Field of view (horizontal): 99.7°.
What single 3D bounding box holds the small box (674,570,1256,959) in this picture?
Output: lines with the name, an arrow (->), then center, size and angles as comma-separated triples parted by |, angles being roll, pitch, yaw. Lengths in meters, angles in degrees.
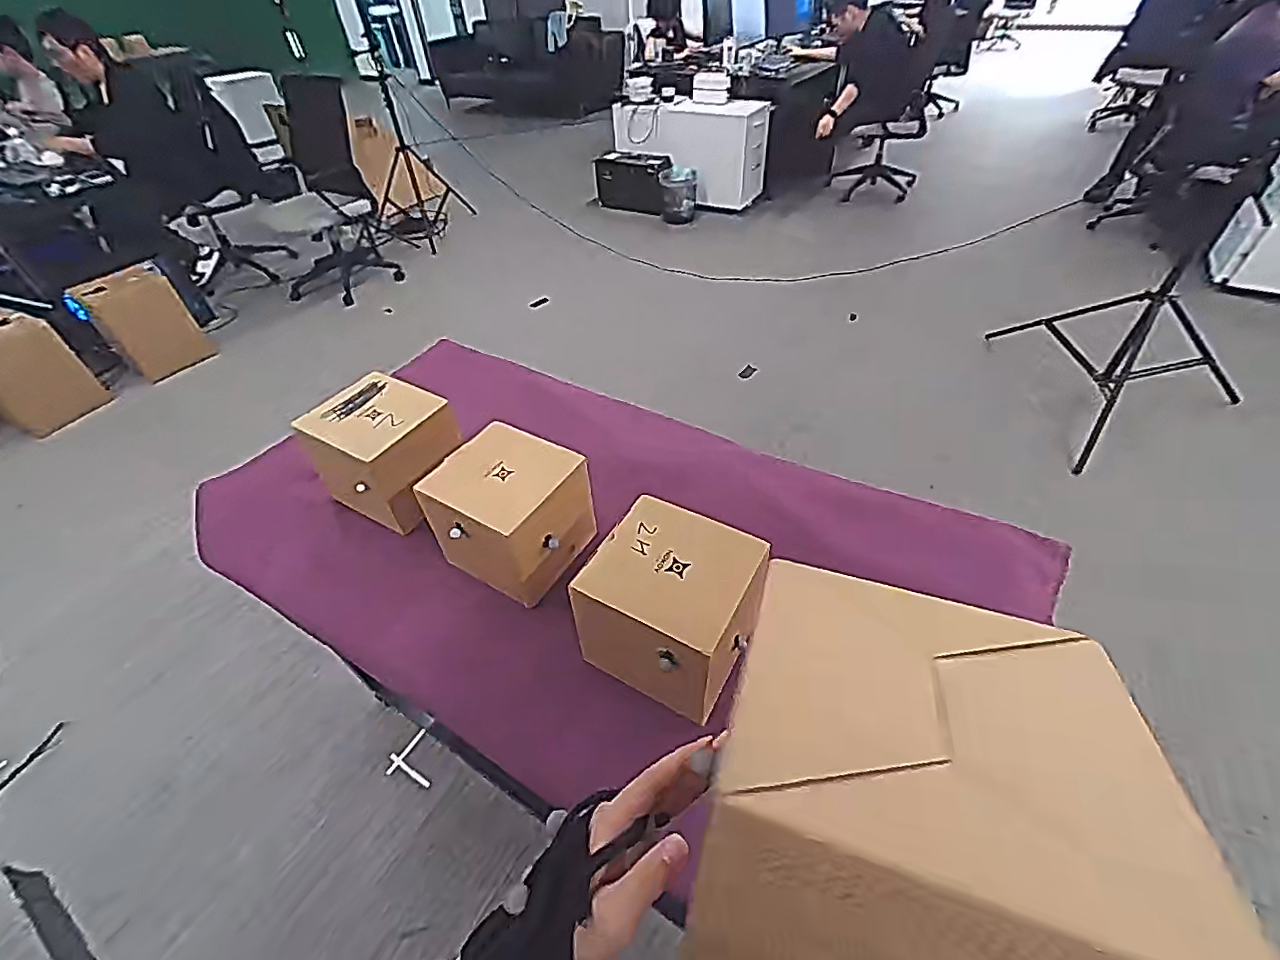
small box -> 0.126, 0.168, 0.280 | 0.179, 0.176, 0.168 | 10, 31, 19

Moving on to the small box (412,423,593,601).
small box -> -0.187, 0.050, 0.791 | 0.179, 0.176, 0.168 | 21, 50, 25

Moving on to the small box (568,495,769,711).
small box -> 0.038, 0.153, 0.664 | 0.179, 0.176, 0.168 | 20, 48, 23
